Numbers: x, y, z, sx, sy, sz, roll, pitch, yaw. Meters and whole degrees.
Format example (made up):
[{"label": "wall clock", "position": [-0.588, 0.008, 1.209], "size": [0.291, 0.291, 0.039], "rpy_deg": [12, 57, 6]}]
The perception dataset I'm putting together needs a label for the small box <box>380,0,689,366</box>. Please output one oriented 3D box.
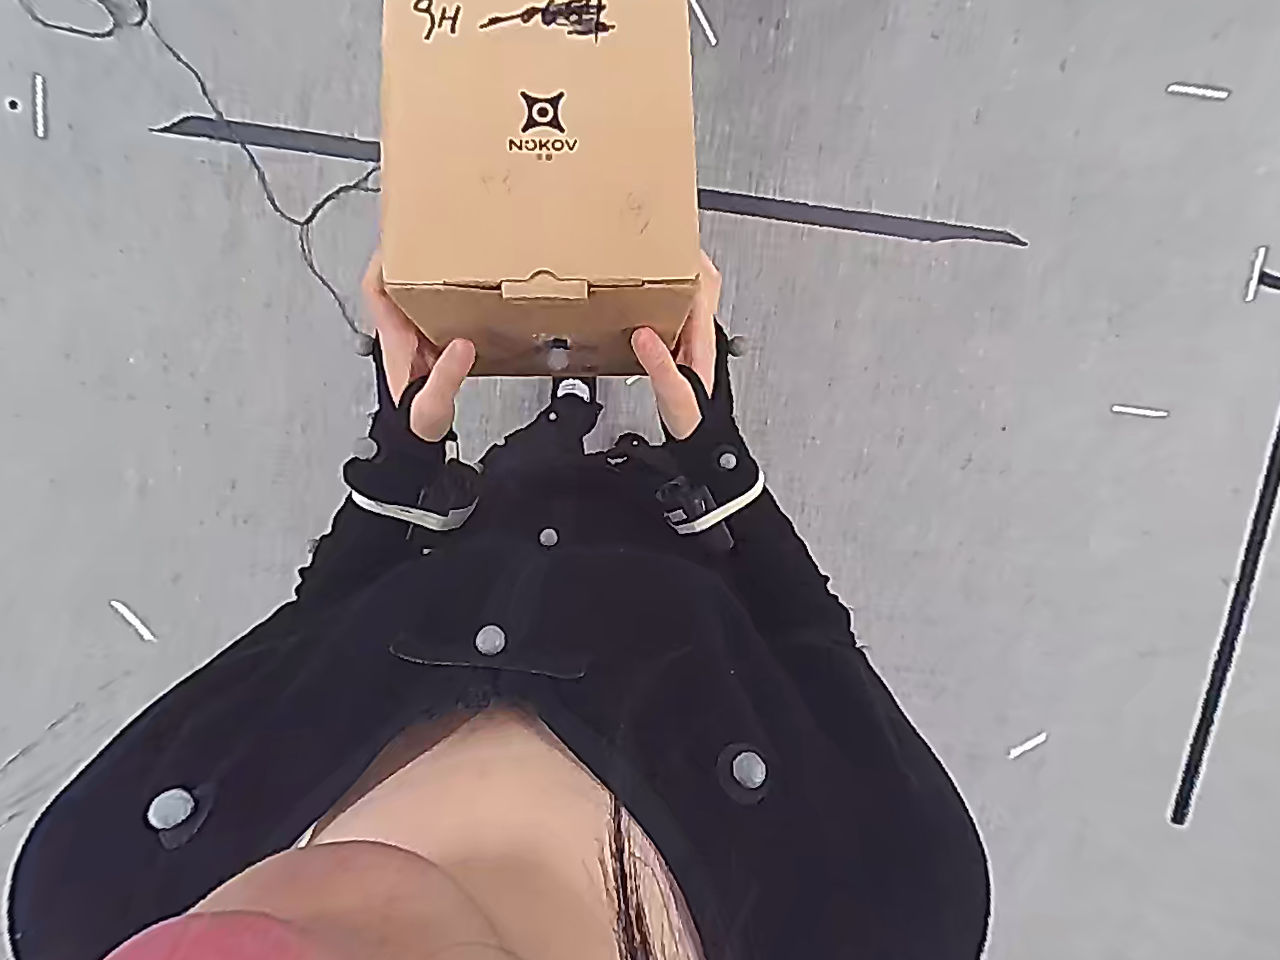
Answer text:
[{"label": "small box", "position": [-0.060, -0.182, 0.371], "size": [0.168, 0.176, 0.179], "rpy_deg": [-1, 85, -4]}]
